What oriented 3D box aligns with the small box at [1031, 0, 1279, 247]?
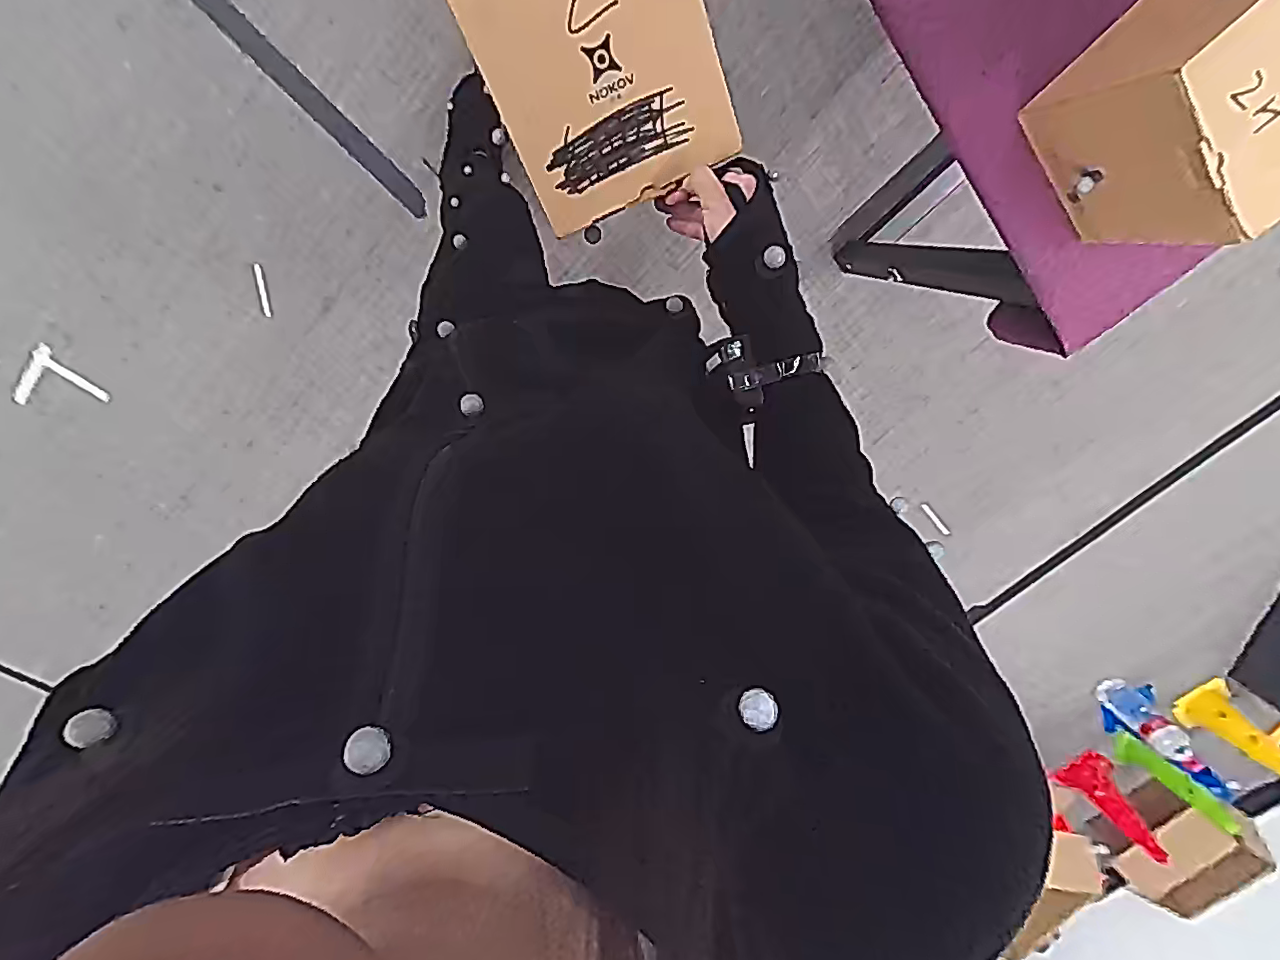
[{"bbox_3d":[0.506,-0.334,0.475,0.179,0.176,0.168,-43,111,14],"label":"small box"}]
